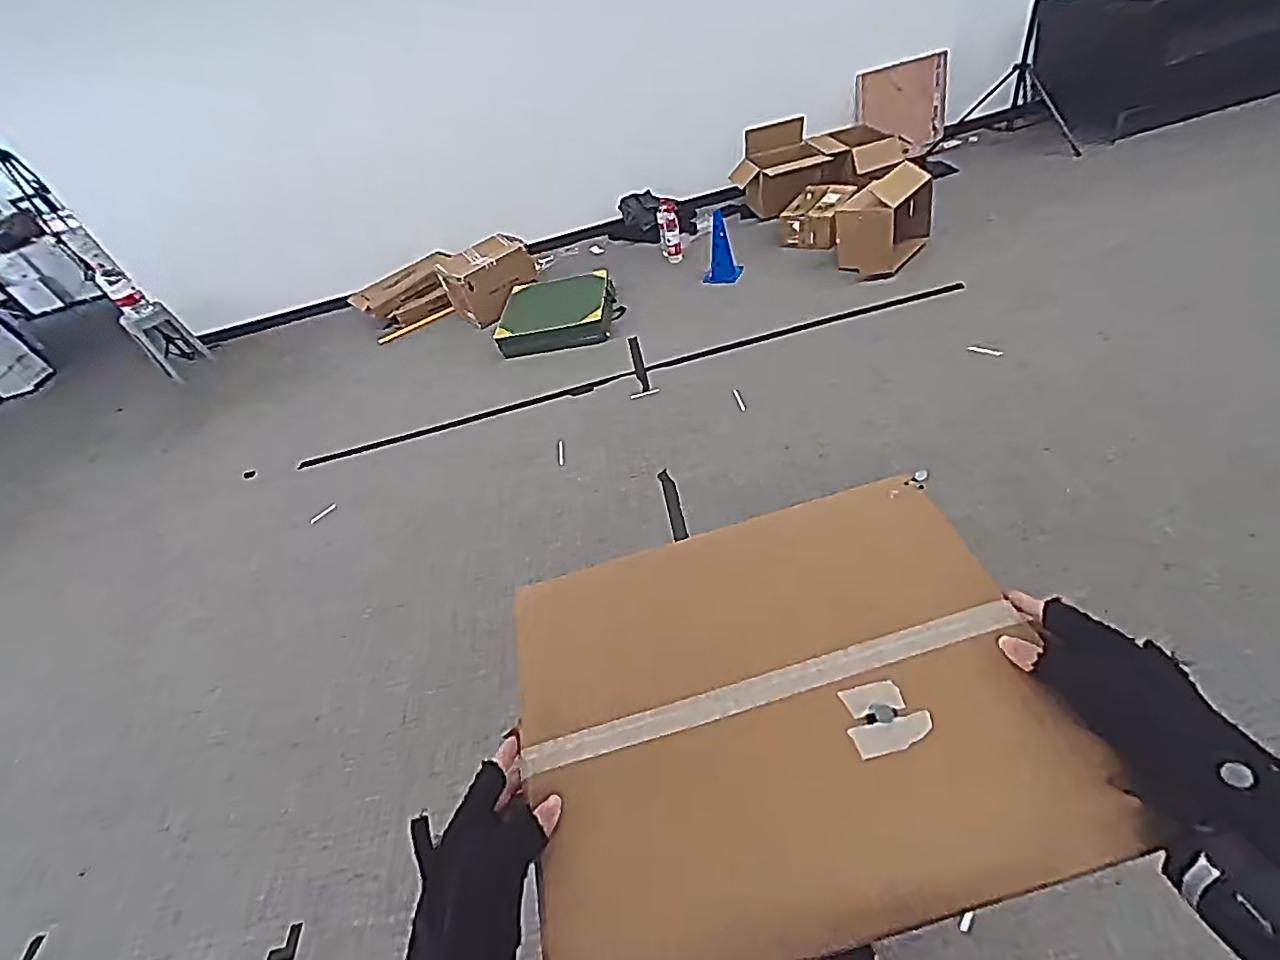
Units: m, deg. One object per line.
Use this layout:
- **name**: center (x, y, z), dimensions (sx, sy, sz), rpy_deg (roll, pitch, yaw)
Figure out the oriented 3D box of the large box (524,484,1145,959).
- **large box**: center (0.133, 0.265, 0.555), dimensions (0.408, 0.320, 0.320), rpy_deg (-17, 49, -1)
